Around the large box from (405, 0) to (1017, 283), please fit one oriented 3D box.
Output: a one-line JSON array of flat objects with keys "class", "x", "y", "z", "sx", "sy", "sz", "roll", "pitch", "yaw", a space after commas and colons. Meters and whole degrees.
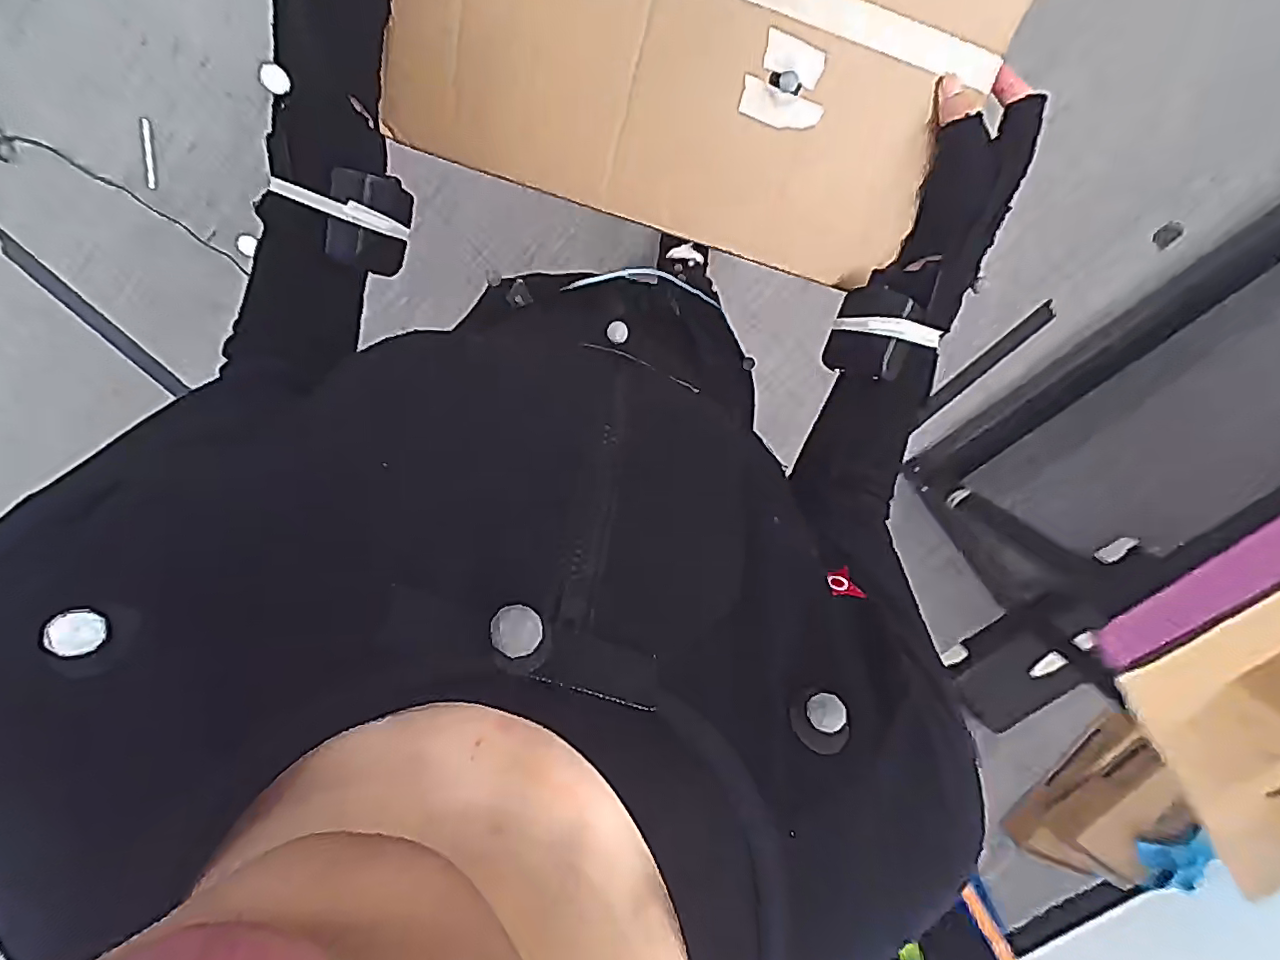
[{"class": "large box", "x": 0.050, "y": -0.412, "z": 0.491, "sx": 0.408, "sy": 0.320, "sz": 0.320, "roll": 14, "pitch": 119, "yaw": -9}]
